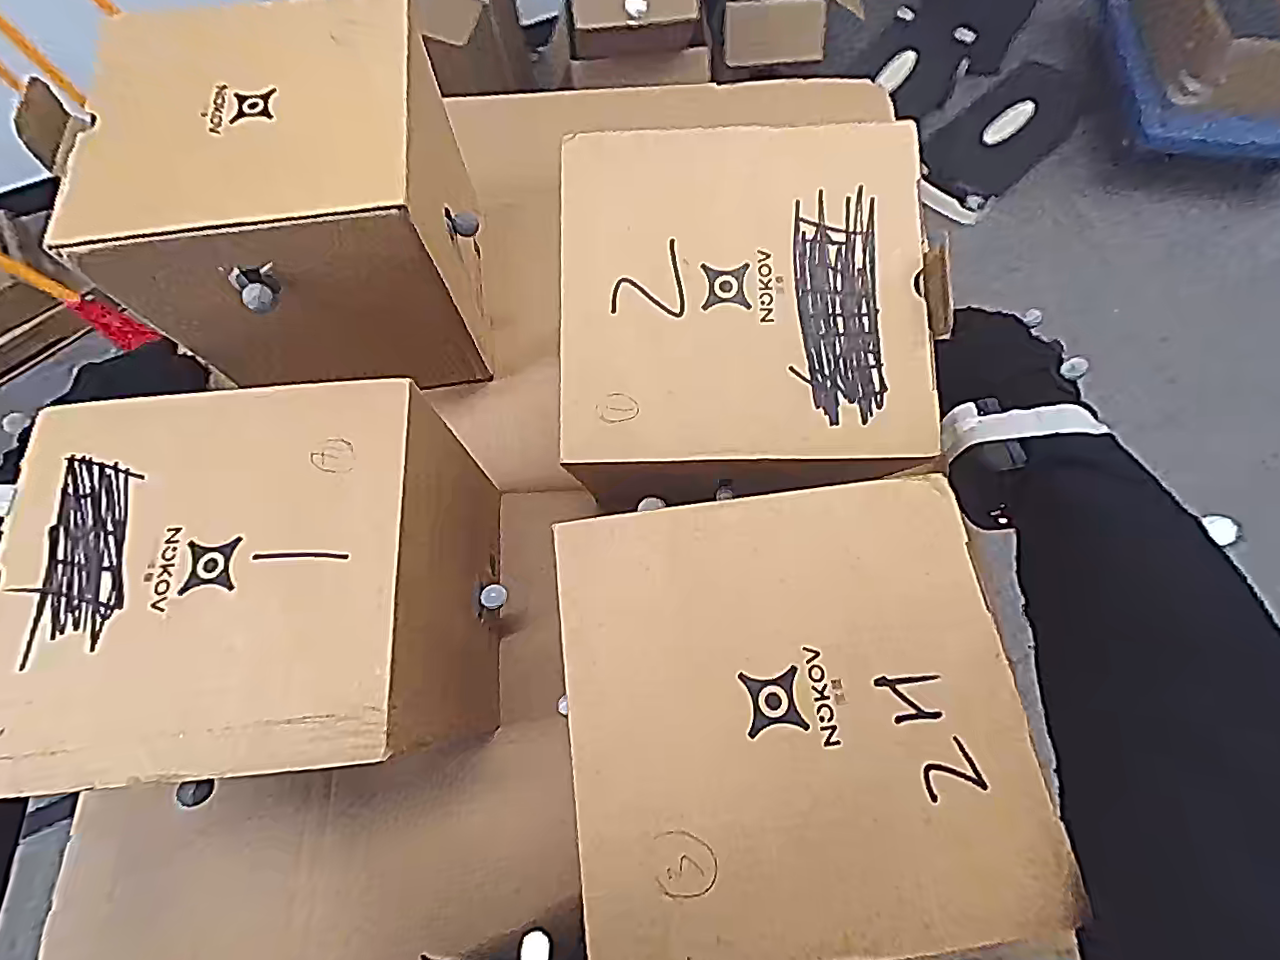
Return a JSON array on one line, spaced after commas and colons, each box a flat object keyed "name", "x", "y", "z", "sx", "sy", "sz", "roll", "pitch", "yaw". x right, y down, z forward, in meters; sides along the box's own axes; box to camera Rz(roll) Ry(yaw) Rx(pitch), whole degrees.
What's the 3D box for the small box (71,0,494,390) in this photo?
[{"name": "small box", "x": -0.204, "y": -0.178, "z": 0.370, "sx": 0.179, "sy": 0.176, "sz": 0.168, "roll": -7, "pitch": 71, "yaw": 0}]
